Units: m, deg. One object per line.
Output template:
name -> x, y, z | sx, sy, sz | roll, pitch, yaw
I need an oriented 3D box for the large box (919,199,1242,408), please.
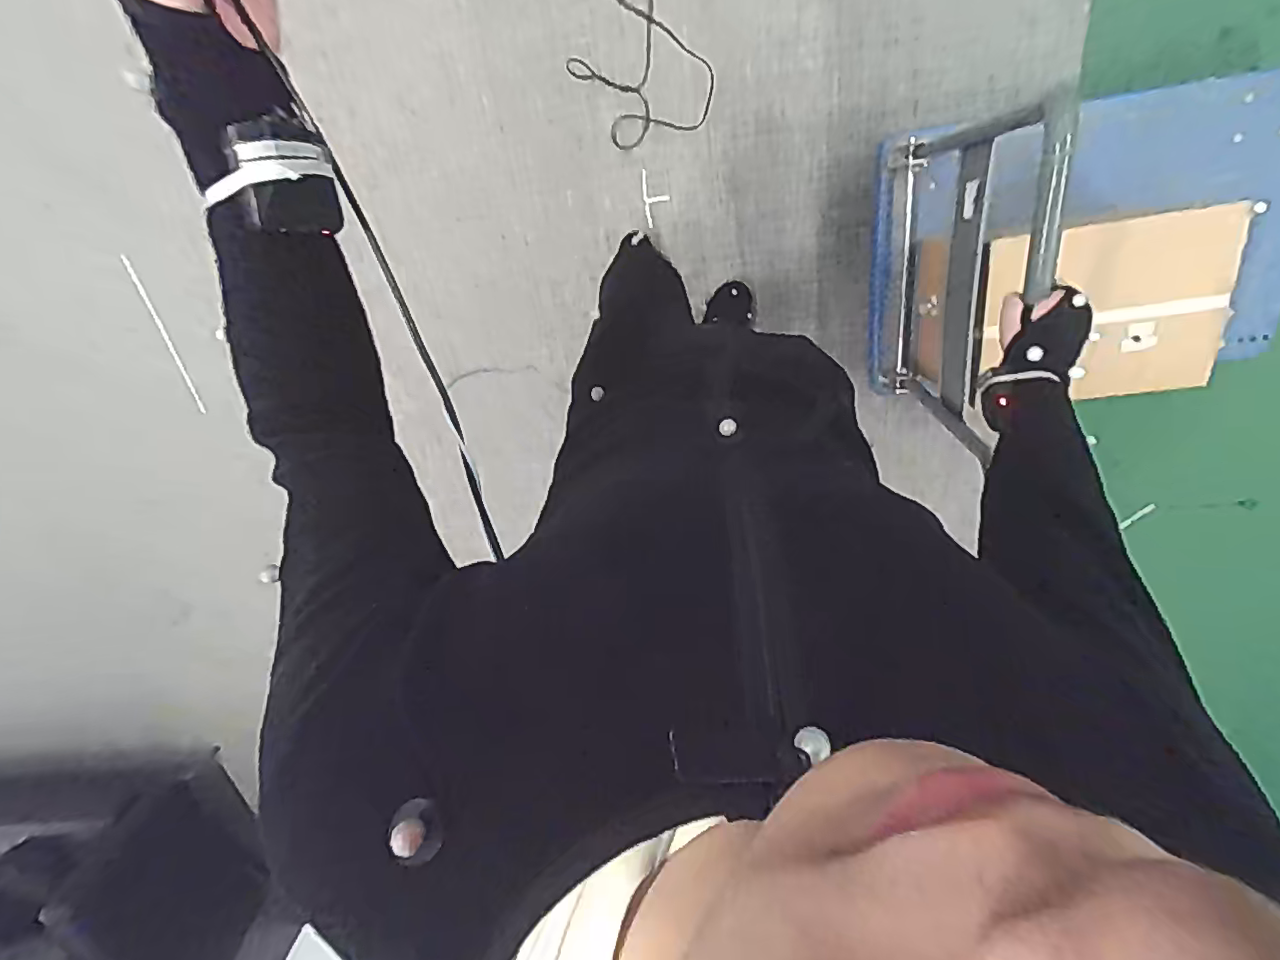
large box -> 0.842, -0.363, 1.118 | 0.408, 0.320, 0.320 | -6, 114, 8
